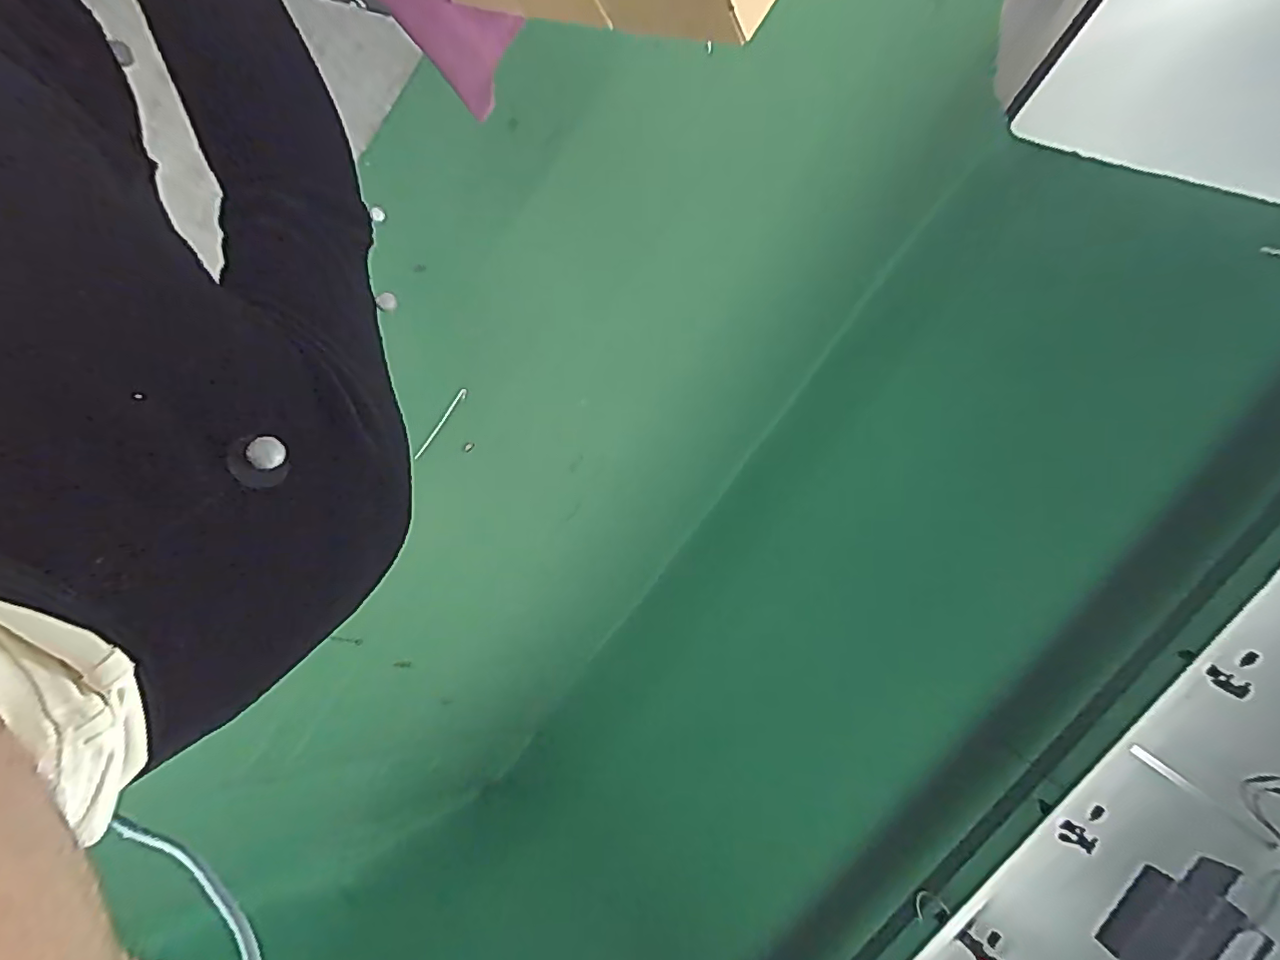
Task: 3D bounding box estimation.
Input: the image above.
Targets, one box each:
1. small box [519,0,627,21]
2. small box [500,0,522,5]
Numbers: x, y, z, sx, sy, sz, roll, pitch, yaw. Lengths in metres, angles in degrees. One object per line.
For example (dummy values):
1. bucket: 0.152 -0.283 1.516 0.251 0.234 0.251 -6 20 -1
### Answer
1. small box: -0.067 -0.585 0.501 0.179 0.176 0.168 -52 148 4
2. small box: -0.180 -0.675 0.581 0.168 0.176 0.179 -53 149 4
